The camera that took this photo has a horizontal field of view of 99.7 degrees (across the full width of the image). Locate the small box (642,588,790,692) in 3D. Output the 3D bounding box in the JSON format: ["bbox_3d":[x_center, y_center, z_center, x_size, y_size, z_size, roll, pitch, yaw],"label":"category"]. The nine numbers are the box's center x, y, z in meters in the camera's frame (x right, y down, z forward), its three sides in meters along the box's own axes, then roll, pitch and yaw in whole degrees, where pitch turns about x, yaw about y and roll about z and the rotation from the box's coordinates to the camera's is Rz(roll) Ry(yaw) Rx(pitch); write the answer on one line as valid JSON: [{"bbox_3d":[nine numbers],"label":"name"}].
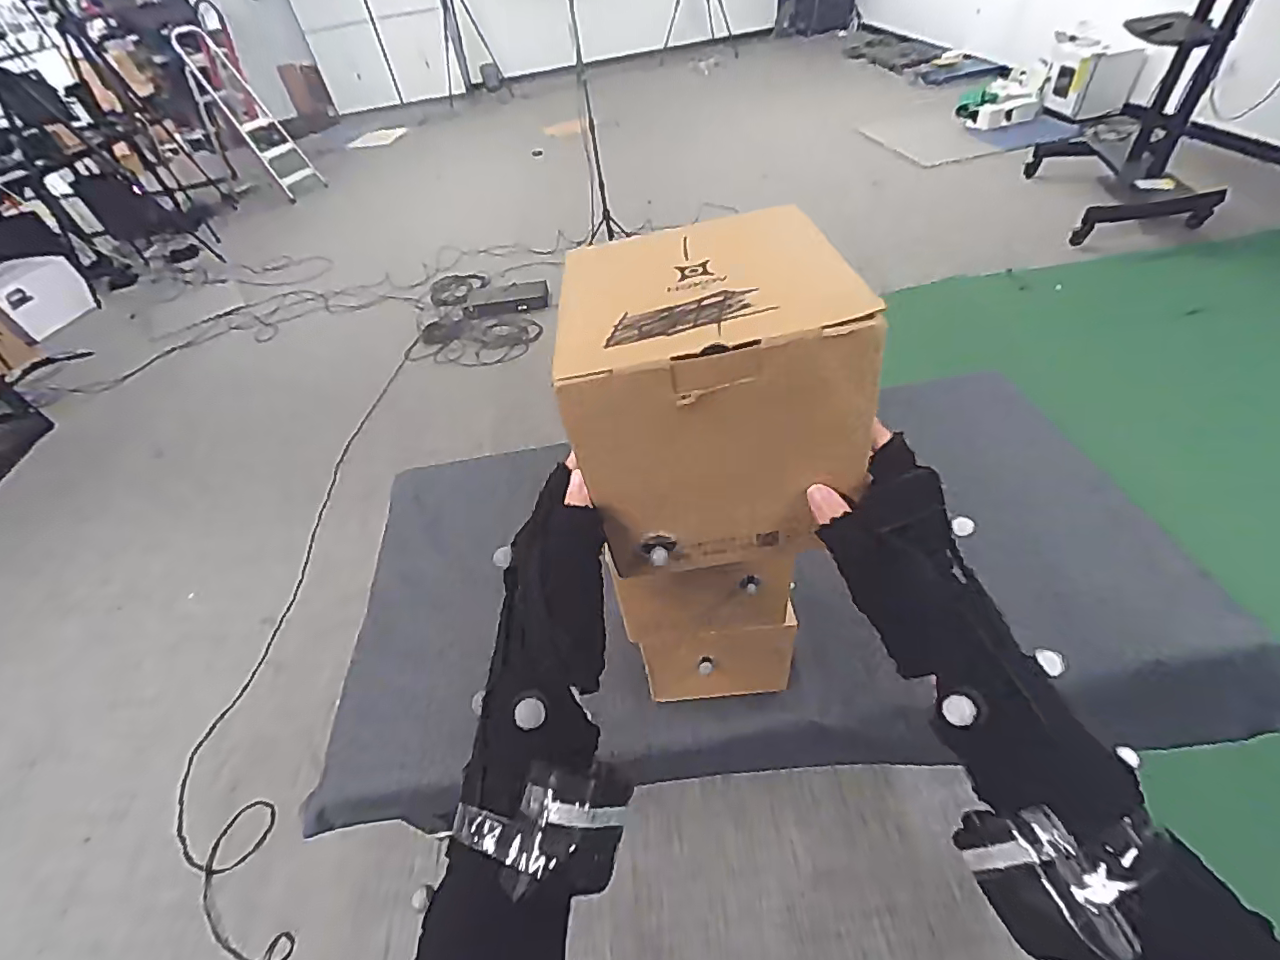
[{"bbox_3d":[0.092,0.166,0.718,0.179,0.176,0.168,-7,45,4],"label":"small box"}]

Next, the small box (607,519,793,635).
[{"bbox_3d":[0.060,0.053,0.605,0.179,0.176,0.168,-8,43,3],"label":"small box"}]

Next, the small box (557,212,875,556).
[{"bbox_3d":[0.049,-0.061,0.383,0.168,0.176,0.179,-9,41,5],"label":"small box"}]
